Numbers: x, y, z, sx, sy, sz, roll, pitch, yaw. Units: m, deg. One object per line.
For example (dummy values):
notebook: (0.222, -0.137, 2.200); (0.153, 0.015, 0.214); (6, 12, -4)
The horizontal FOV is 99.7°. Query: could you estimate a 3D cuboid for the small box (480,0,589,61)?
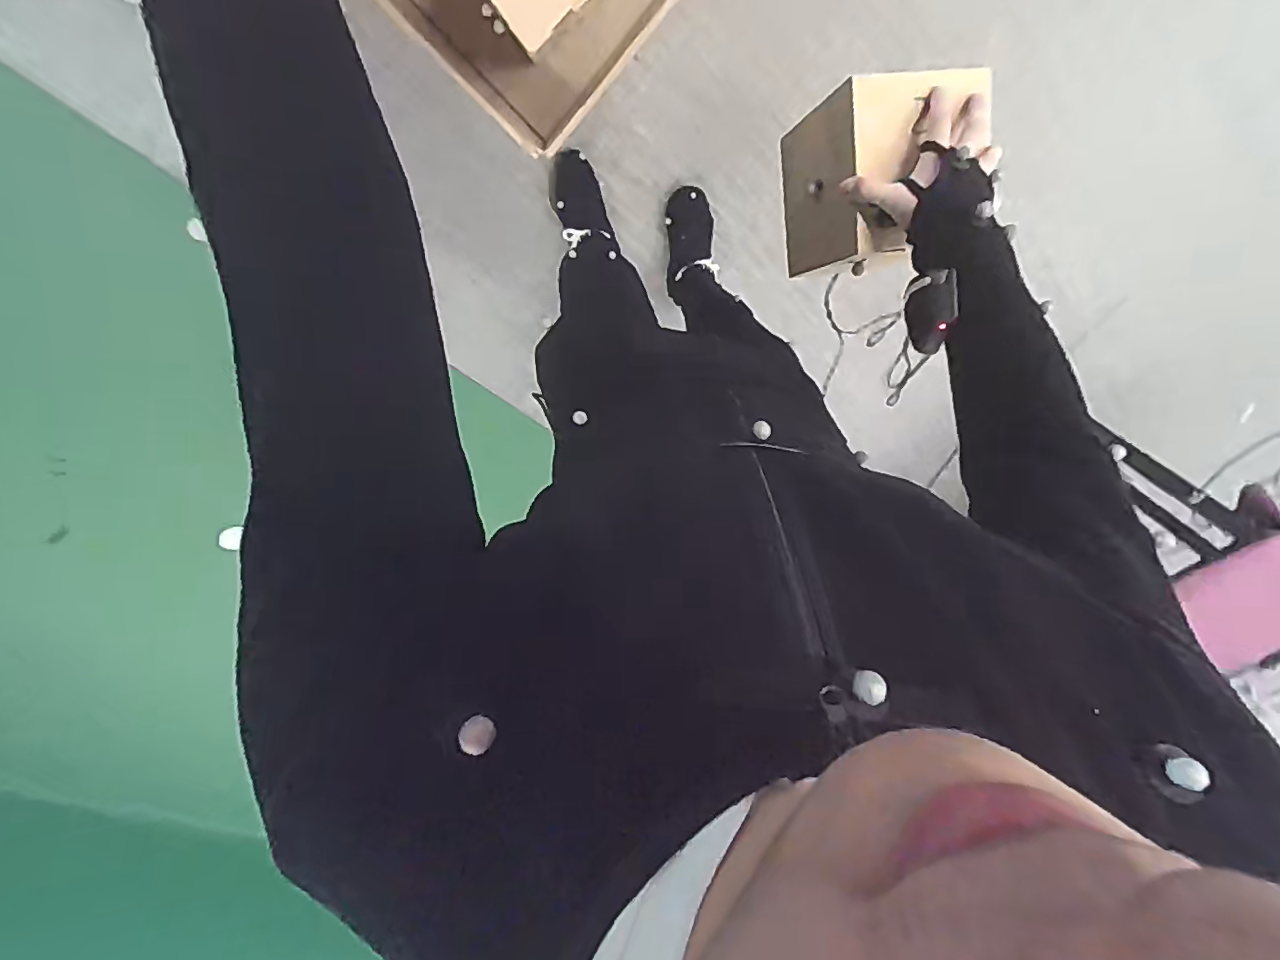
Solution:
small box: (-0.121, -0.586, 0.566); (0.168, 0.176, 0.179); (-36, 124, 16)
